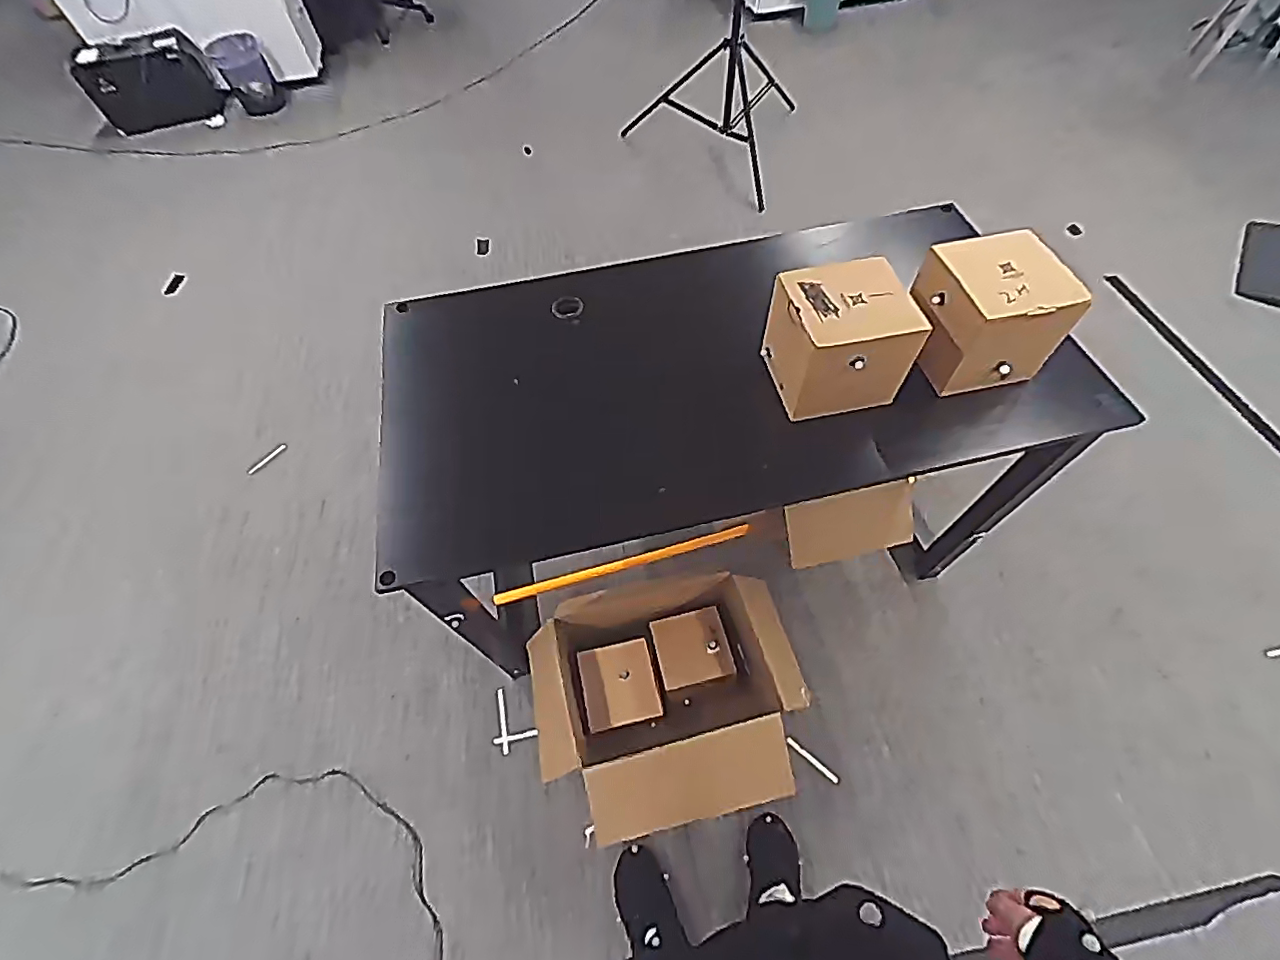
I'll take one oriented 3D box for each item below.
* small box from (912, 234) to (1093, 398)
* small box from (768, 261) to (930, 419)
[{"bbox_3d":[0.554,-0.261,0.874,0.168,0.176,0.179,-11,59,-2],"label":"small box"},{"bbox_3d":[0.313,-0.215,0.860,0.179,0.176,0.168,-10,59,-4],"label":"small box"}]
